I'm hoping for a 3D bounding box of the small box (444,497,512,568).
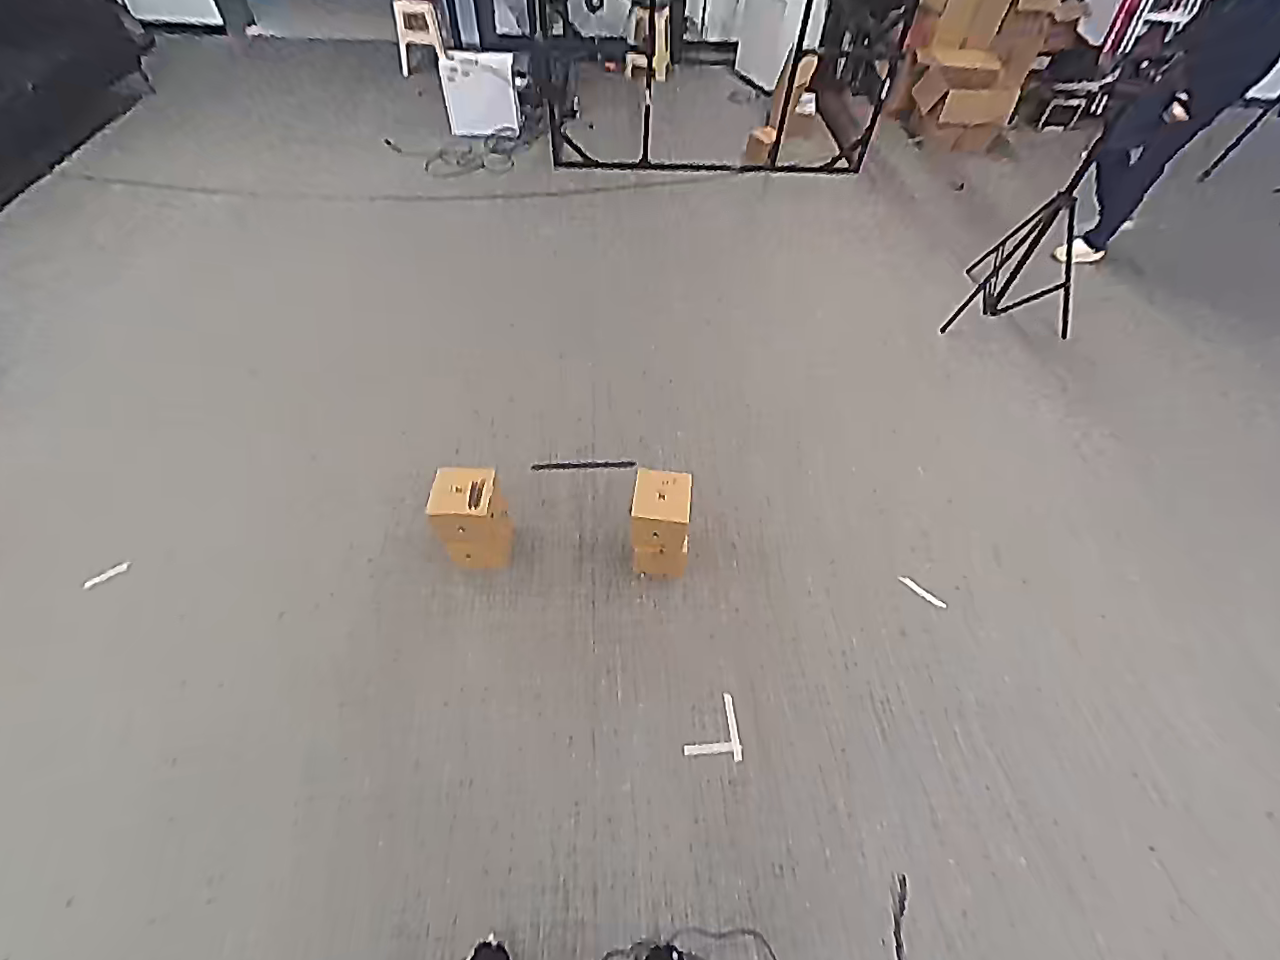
[{"bbox_3d":[-0.514,0.171,1.744,0.168,0.176,0.179,1,53,-2],"label":"small box"}]

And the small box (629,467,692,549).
[{"bbox_3d":[0.060,0.088,1.628,0.168,0.176,0.179,8,53,2],"label":"small box"}]

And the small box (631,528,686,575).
[{"bbox_3d":[0.059,0.196,1.753,0.168,0.176,0.179,3,53,-2],"label":"small box"}]
